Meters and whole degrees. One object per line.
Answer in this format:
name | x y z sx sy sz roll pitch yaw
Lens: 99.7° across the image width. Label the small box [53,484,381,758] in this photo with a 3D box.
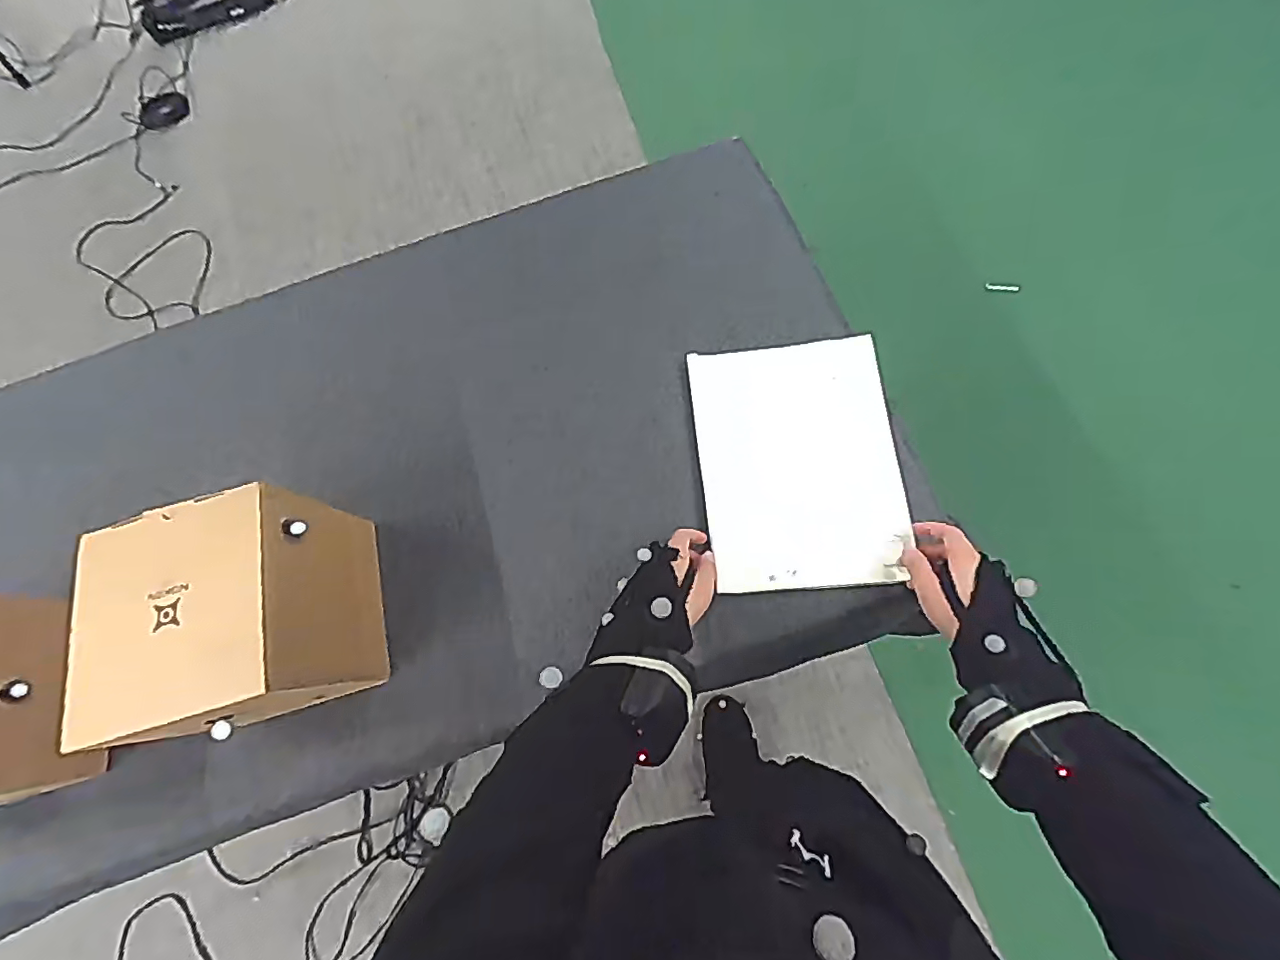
small box | -0.362 0.127 0.495 0.168 0.176 0.179 -17 70 2
